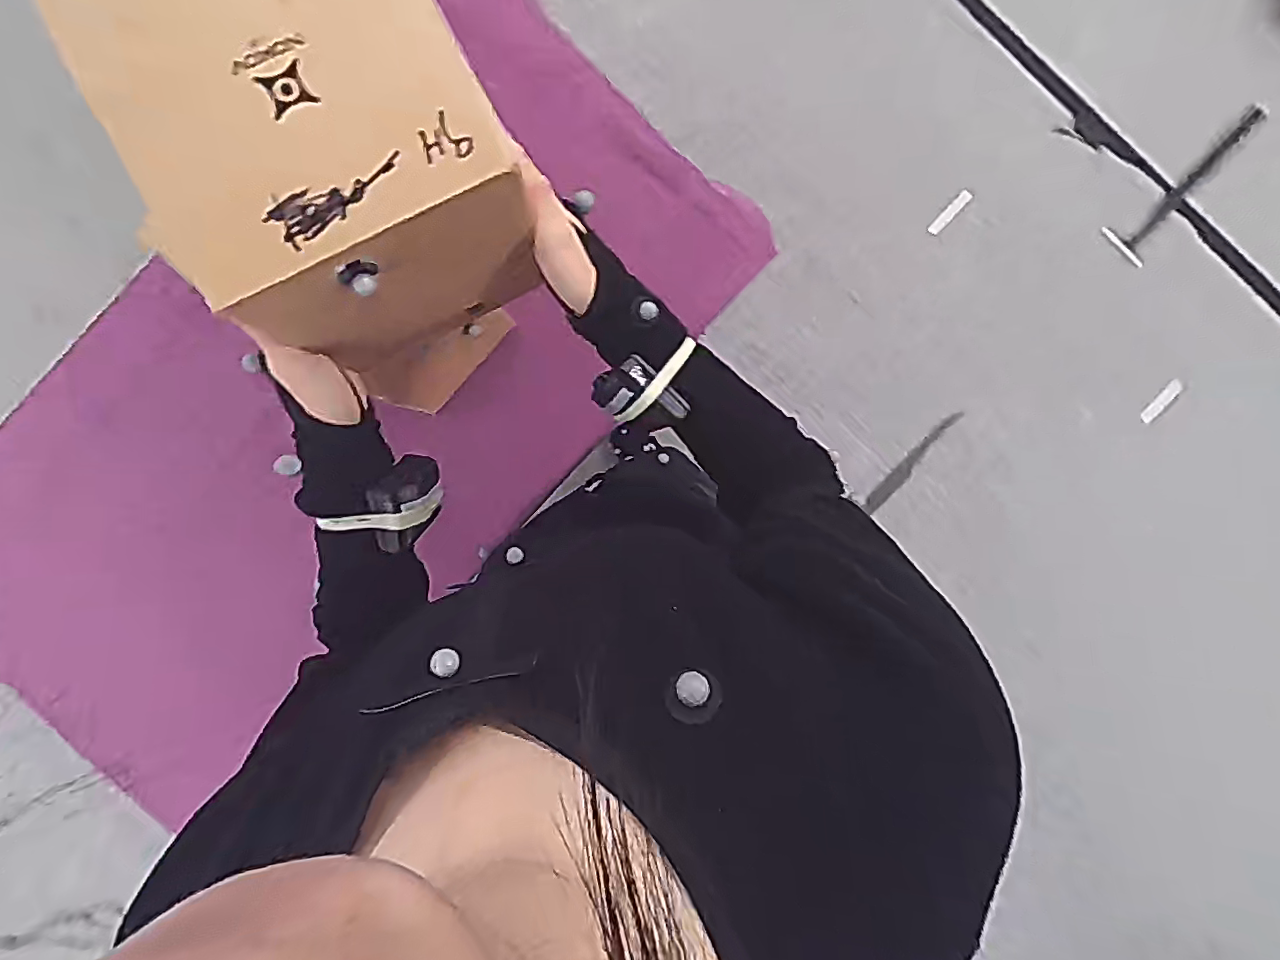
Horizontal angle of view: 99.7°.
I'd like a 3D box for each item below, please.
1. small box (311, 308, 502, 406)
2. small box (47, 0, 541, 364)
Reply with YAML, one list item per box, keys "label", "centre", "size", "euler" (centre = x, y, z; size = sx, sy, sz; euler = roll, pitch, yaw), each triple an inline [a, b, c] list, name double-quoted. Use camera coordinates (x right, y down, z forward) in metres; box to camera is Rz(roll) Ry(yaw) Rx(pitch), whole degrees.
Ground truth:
- label: "small box"
  centre: [-0.295, -0.213, 0.680]
  size: [0.168, 0.176, 0.179]
  euler: [42, 92, -1]
- label: "small box"
  centre: [-0.177, -0.196, 0.338]
  size: [0.168, 0.176, 0.179]
  euler: [-28, 92, -4]
